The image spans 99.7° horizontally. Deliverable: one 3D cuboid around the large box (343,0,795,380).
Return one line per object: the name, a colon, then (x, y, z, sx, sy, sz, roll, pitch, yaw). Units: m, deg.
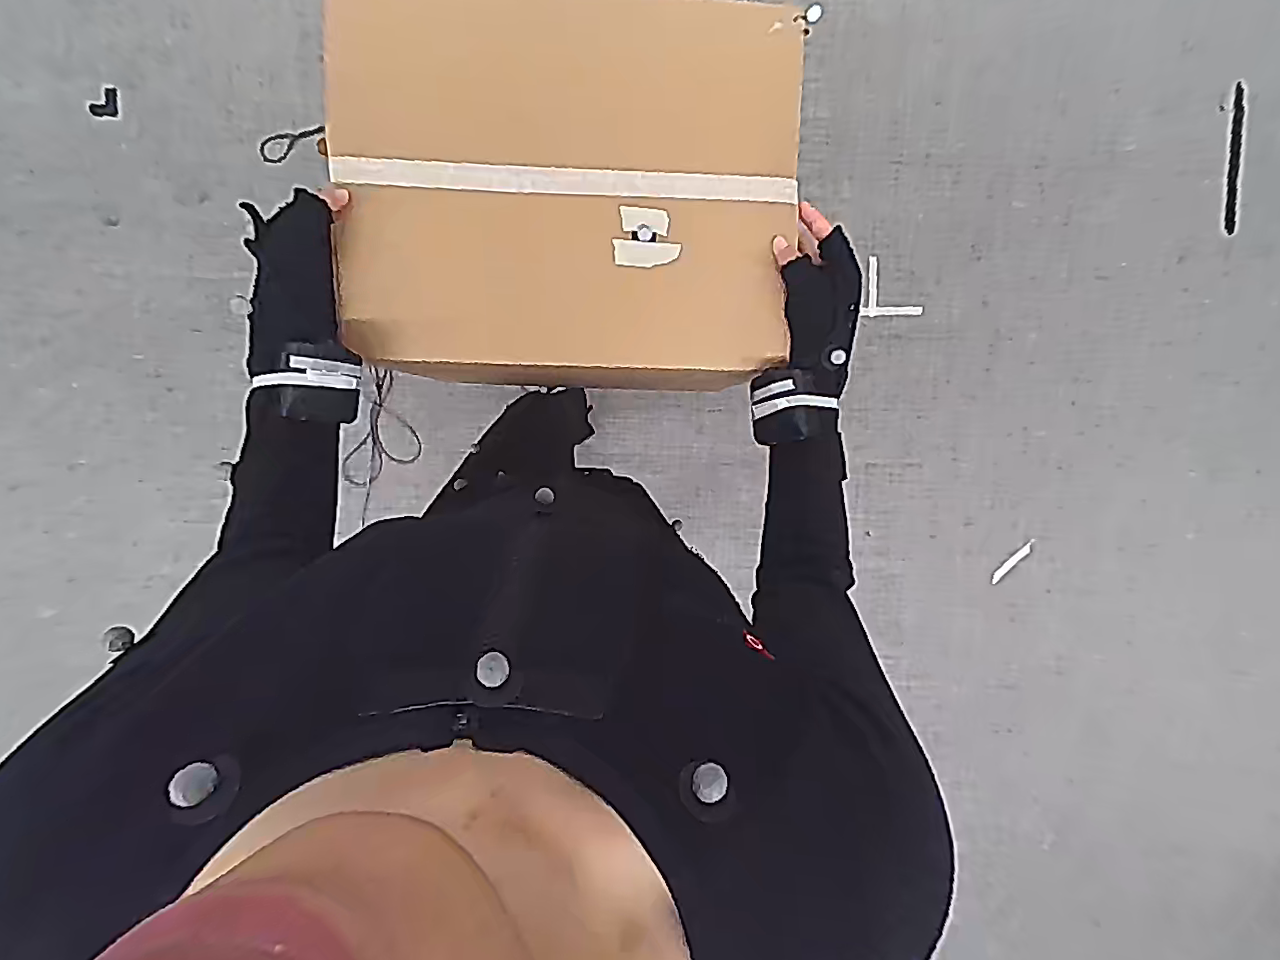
large box: (-0.070, -0.286, 0.638, 0.408, 0.320, 0.320, 1, 97, -4)
